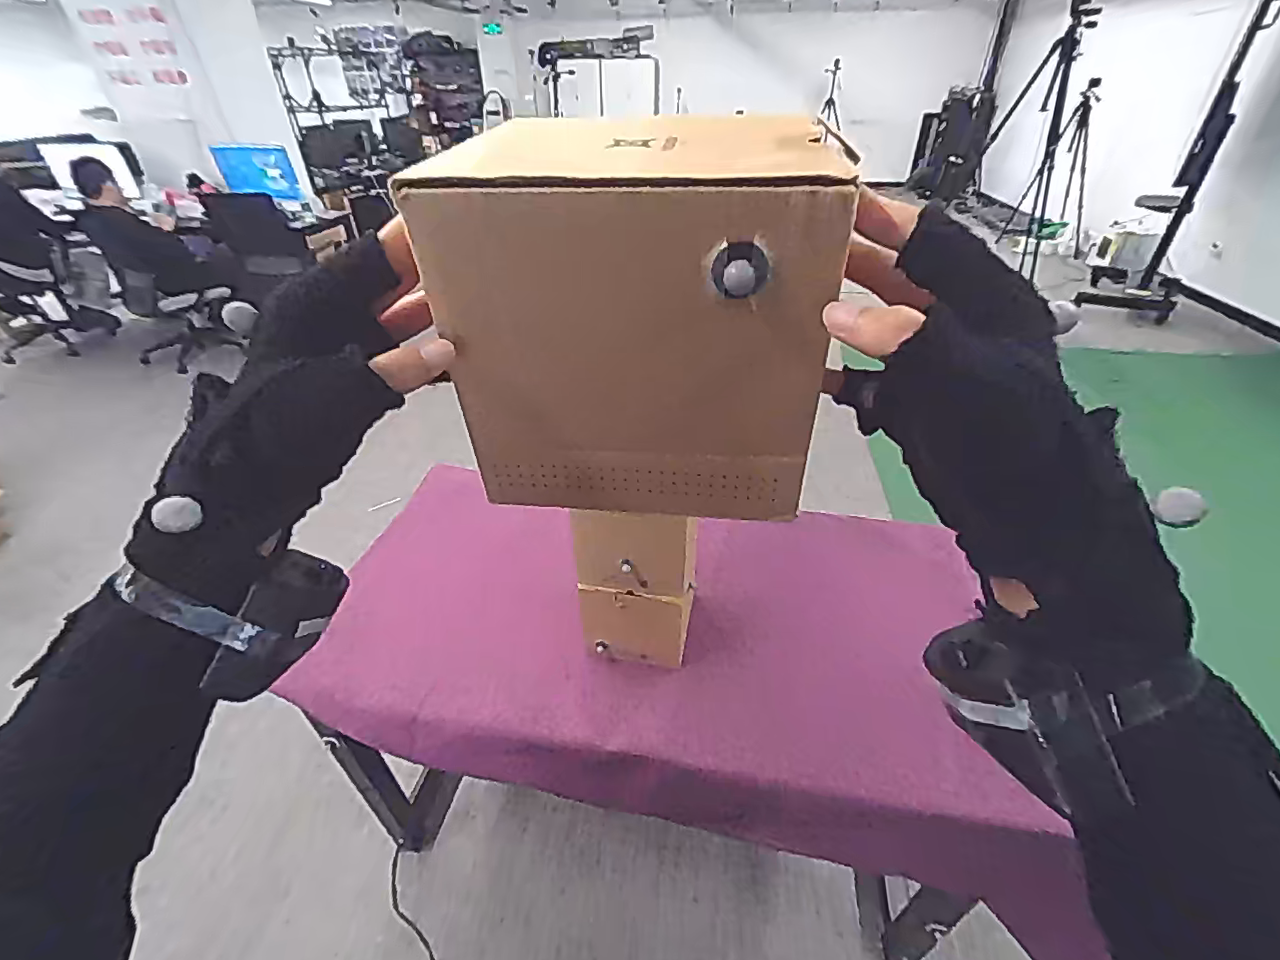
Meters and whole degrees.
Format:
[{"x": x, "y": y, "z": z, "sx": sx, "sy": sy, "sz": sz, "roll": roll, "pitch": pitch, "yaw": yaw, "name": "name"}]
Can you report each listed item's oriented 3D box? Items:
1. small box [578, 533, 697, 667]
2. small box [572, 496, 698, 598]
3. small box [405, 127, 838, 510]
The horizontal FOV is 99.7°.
[{"x": 0.004, "y": 0.193, "z": 0.929, "sx": 0.168, "sy": 0.176, "sz": 0.179, "roll": 7, "pitch": 36, "yaw": 10, "name": "small box"}, {"x": 0.002, "y": 0.055, "z": 0.840, "sx": 0.168, "sy": 0.176, "sz": 0.179, "roll": 6, "pitch": 37, "yaw": 10, "name": "small box"}, {"x": 0.001, "y": -0.098, "z": 0.320, "sx": 0.179, "sy": 0.176, "sz": 0.168, "roll": 4, "pitch": 40, "yaw": 6, "name": "small box"}]
